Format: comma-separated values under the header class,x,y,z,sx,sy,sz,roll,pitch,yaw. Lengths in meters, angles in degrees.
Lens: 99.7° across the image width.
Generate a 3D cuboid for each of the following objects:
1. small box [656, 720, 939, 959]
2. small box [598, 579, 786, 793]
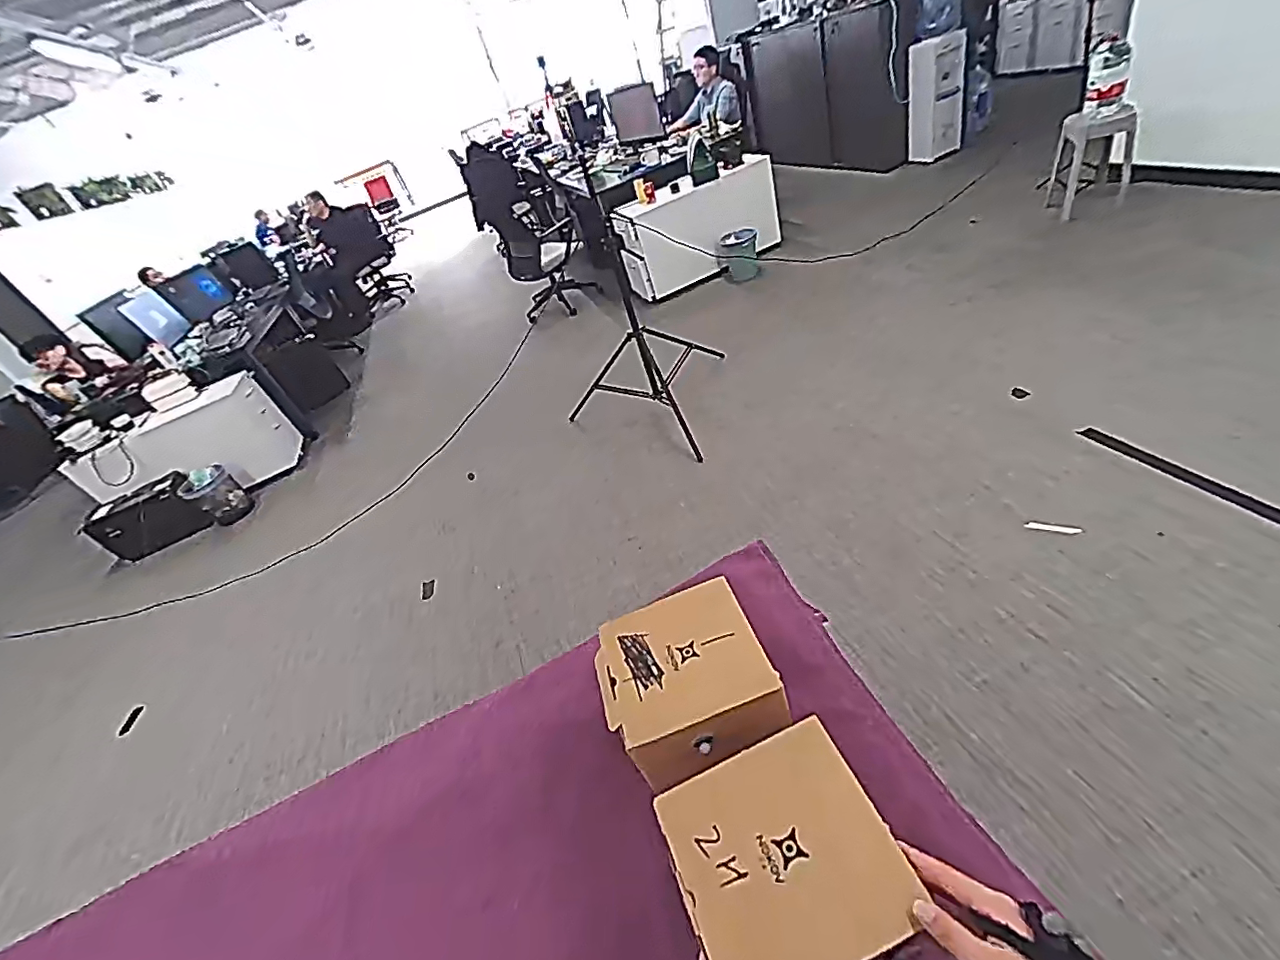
class,x,y,z,sx,sy,sz,roll,pitch,yaw
small box,0.138,0.364,0.503,0.179,0.176,0.168,-25,42,-4
small box,0.068,0.261,0.671,0.179,0.176,0.168,-22,39,-2
